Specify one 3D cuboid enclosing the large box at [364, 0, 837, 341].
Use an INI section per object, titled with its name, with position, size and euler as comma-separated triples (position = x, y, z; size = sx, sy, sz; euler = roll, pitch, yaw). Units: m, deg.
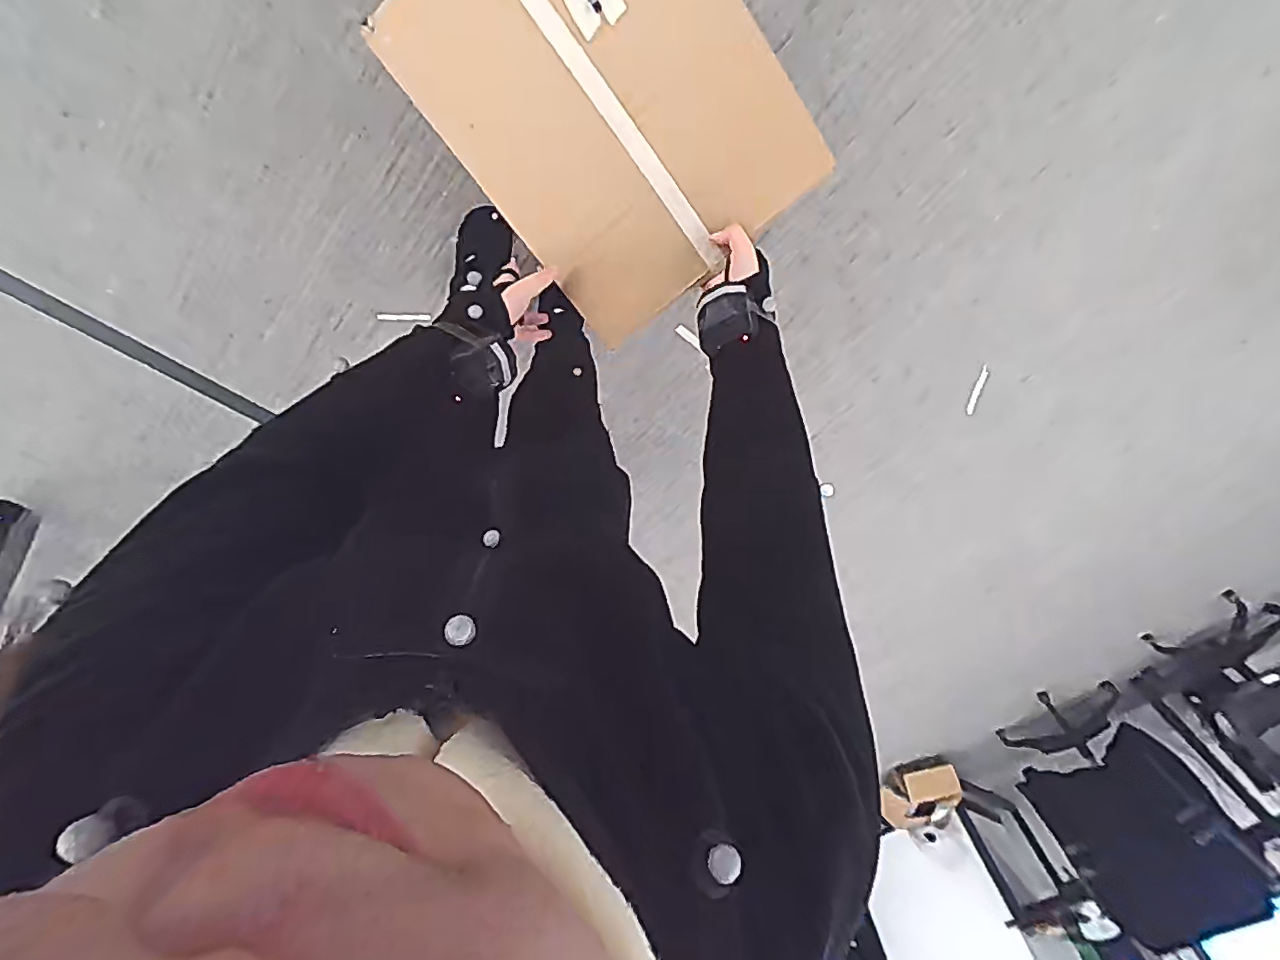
[large box]
position = -0.026, -0.445, 0.685
size = 0.320, 0.320, 0.408
euler = -37, 105, 16
